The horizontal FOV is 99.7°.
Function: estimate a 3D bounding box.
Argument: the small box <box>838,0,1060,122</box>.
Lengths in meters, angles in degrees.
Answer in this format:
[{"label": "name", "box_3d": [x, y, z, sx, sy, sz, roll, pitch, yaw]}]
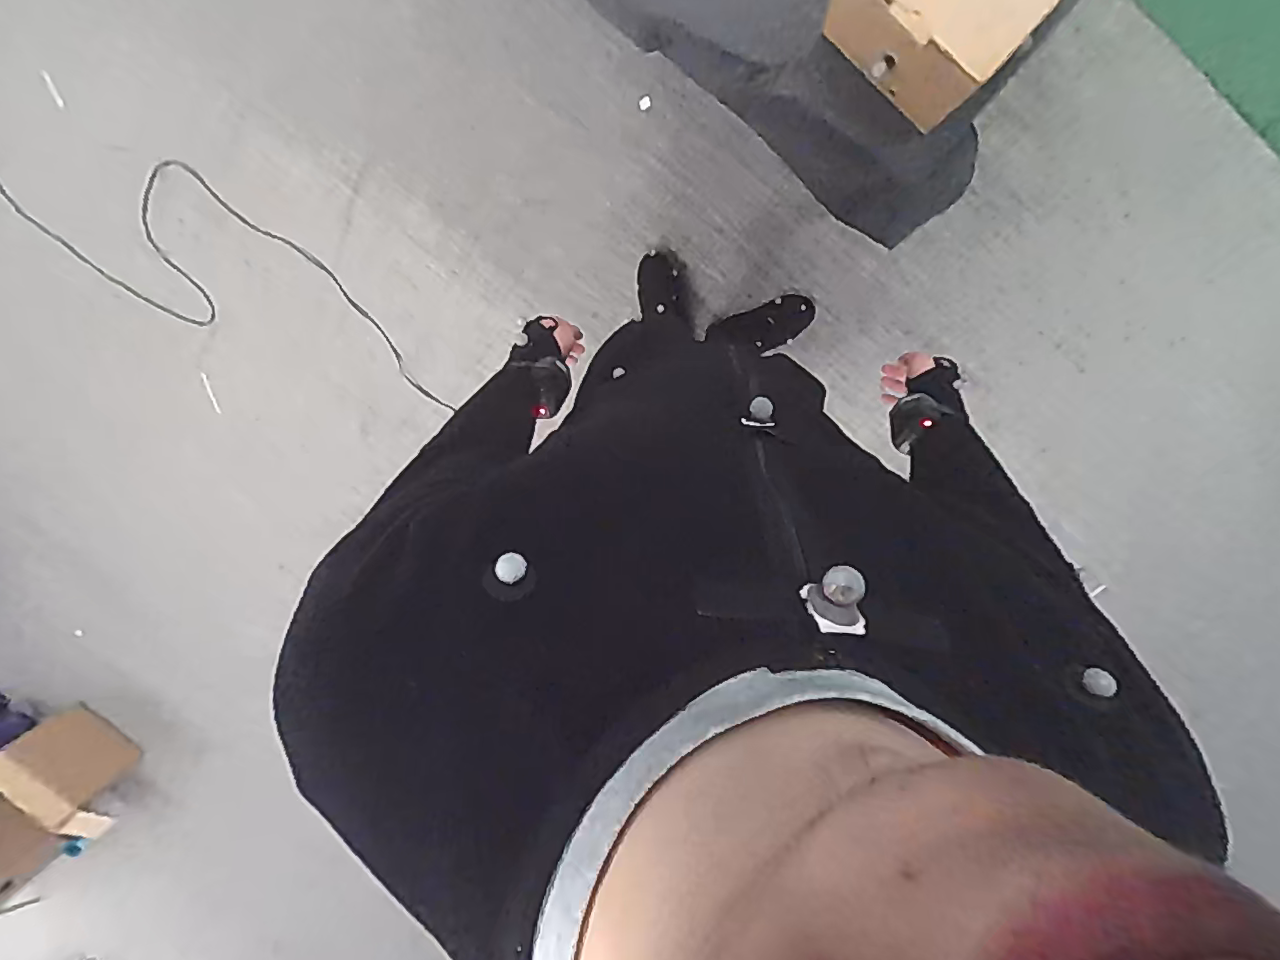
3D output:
[{"label": "small box", "box_3d": [0.301, -0.472, 0.491, 0.168, 0.176, 0.179, 42, 114, -4]}]
